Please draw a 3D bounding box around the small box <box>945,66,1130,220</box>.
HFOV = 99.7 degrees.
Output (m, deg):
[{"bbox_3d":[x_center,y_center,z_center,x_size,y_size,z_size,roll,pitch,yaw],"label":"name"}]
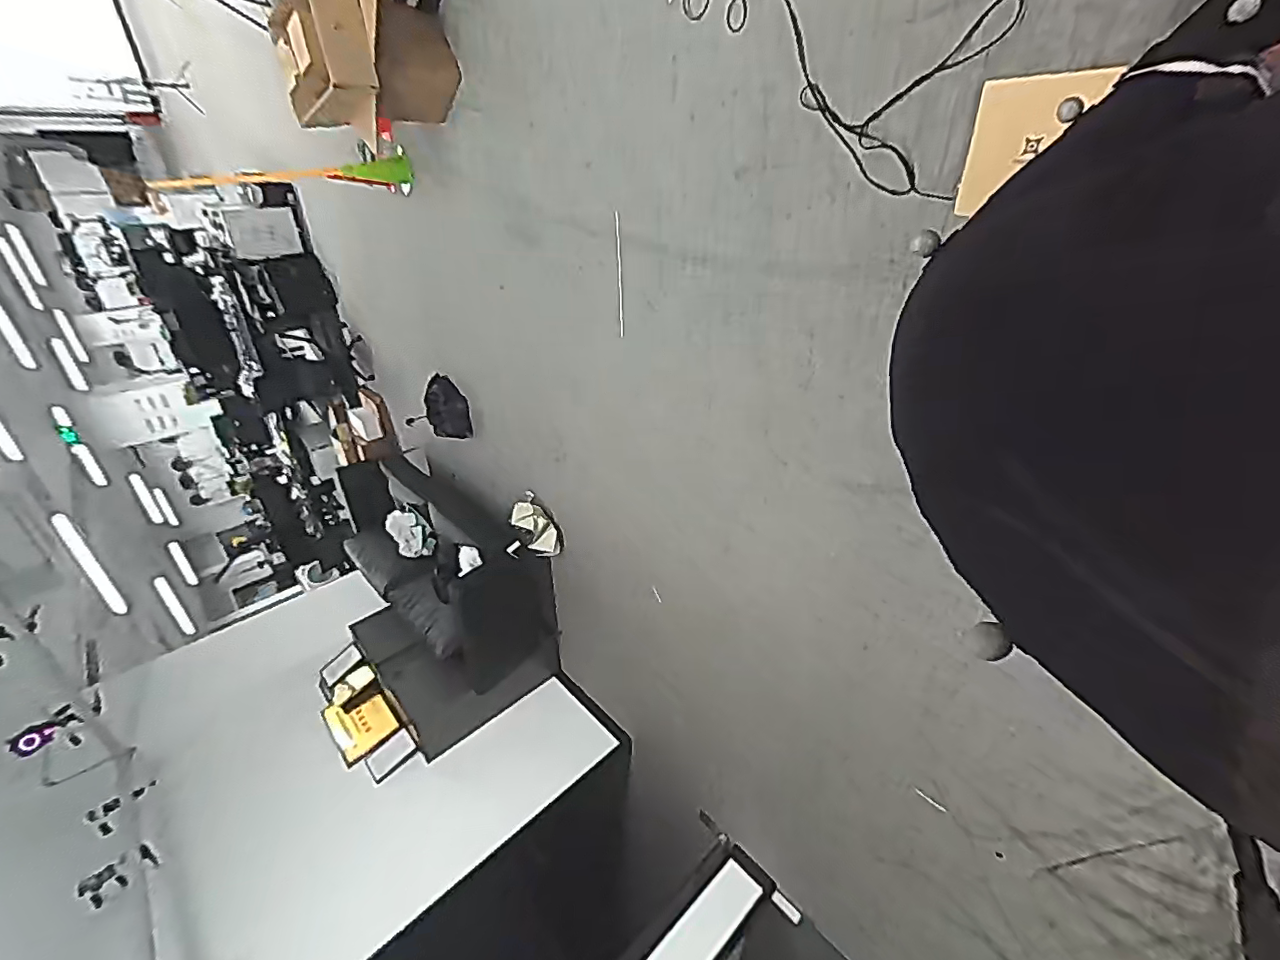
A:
[{"bbox_3d":[0.596,-0.501,0.813,0.168,0.176,0.179,27,133,39],"label":"small box"}]
